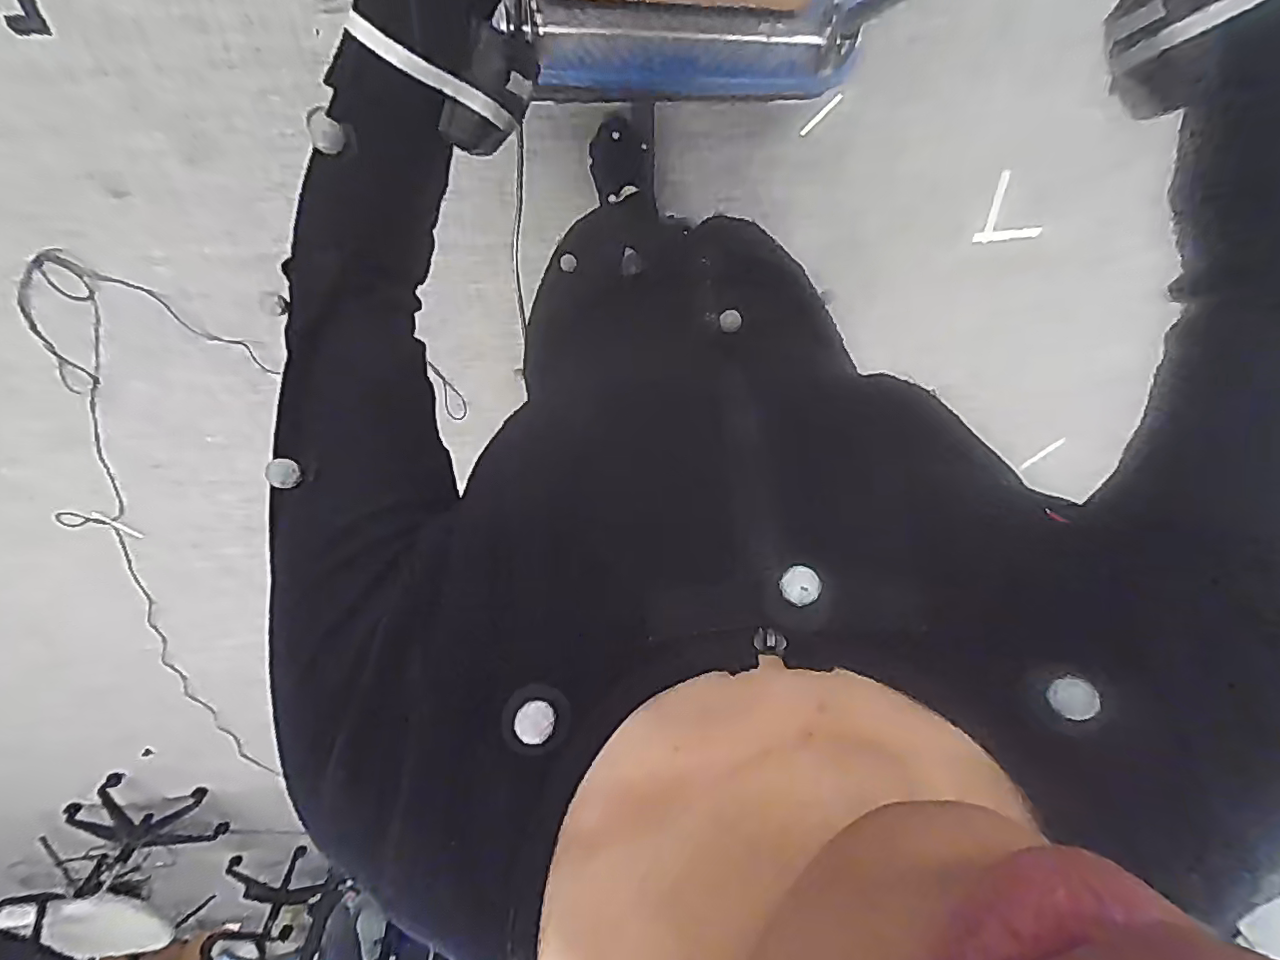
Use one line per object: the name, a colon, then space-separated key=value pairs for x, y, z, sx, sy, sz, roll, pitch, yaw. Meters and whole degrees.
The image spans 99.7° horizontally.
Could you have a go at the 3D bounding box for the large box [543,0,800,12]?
large box: x=0.059 y=-0.806 z=0.637 sx=0.408 sy=0.320 sz=0.320 roll=-2 pitch=115 yaw=-6
